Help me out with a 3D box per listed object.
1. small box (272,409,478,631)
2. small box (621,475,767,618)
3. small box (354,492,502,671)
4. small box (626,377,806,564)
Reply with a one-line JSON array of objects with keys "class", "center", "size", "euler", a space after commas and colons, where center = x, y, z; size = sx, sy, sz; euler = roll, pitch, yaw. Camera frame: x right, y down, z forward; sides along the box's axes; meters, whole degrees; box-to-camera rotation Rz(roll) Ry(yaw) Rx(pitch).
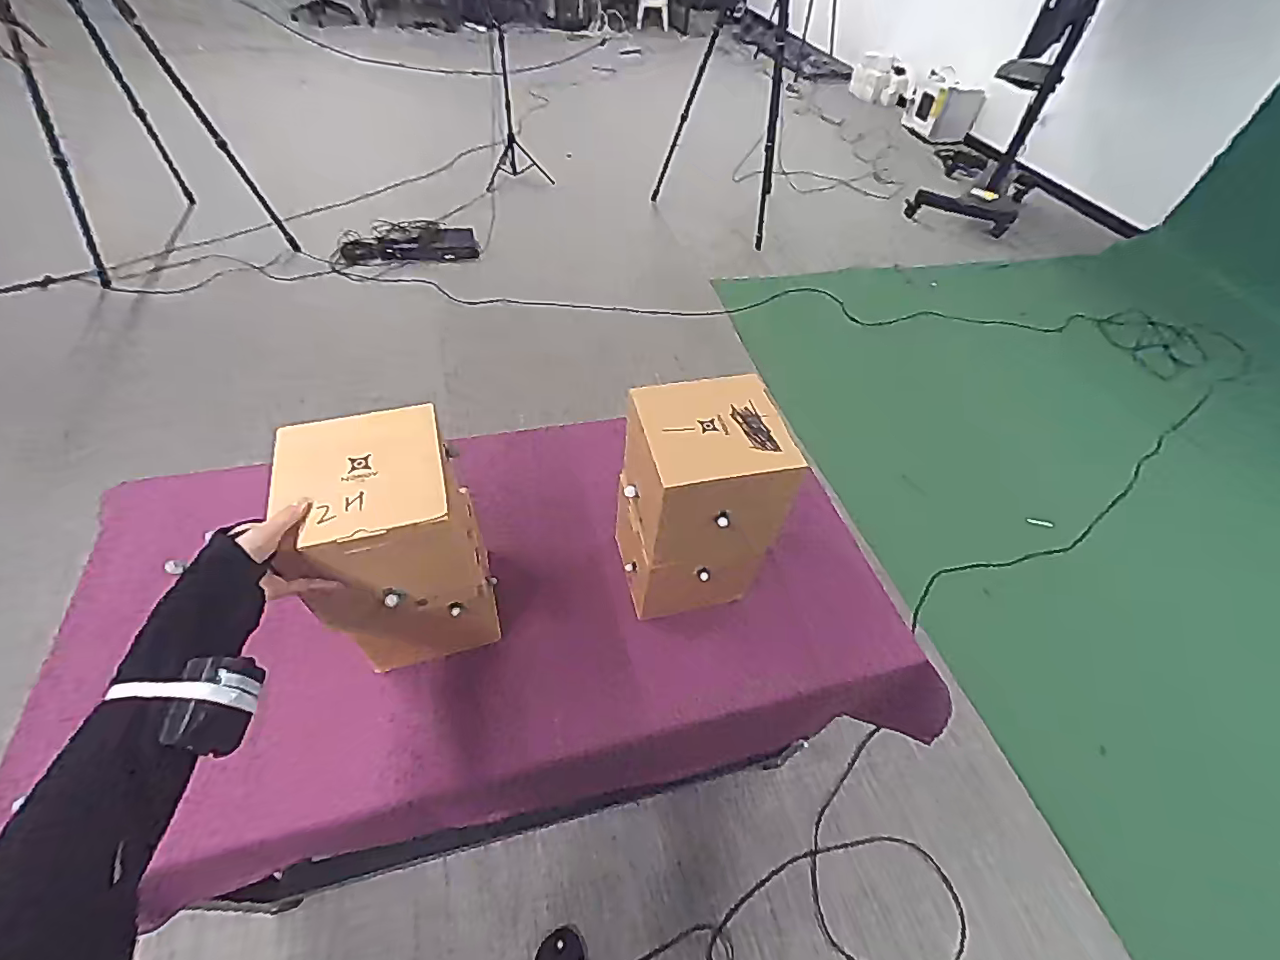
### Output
[{"class": "small box", "center": [-0.294, 0.046, 0.630], "size": [0.168, 0.176, 0.179], "euler": [-13, 52, -14]}, {"class": "small box", "center": [0.070, 0.094, 0.836], "size": [0.179, 0.176, 0.168], "euler": [-8, 52, -12]}, {"class": "small box", "center": [-0.304, 0.145, 0.763], "size": [0.179, 0.176, 0.168], "euler": [-12, 52, -16]}, {"class": "small box", "center": [0.085, -0.010, 0.711], "size": [0.179, 0.176, 0.168], "euler": [-9, 52, -11]}]
